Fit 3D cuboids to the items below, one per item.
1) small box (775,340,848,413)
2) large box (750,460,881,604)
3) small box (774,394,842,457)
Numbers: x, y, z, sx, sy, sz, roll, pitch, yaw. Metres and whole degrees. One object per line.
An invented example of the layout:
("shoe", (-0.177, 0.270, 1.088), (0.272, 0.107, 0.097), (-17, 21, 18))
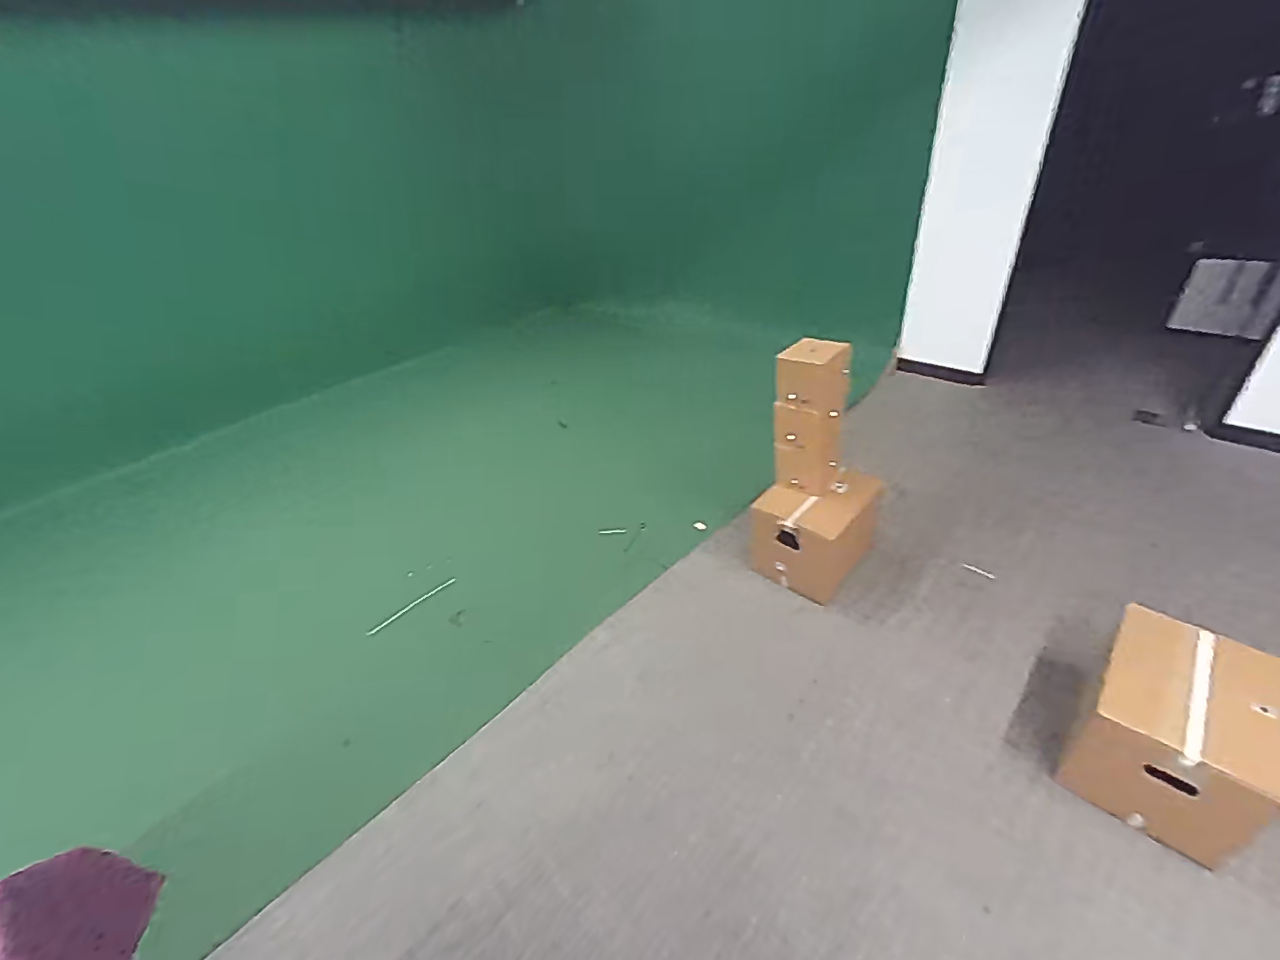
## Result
("small box", (0.559, -0.341, 1.772), (0.179, 0.176, 0.168), (-35, 40, -31))
("large box", (0.645, 0.182, 2.009), (0.320, 0.320, 0.408), (24, 45, 38))
("small box", (0.575, -0.205, 1.861), (0.168, 0.176, 0.179), (21, 45, 39))
